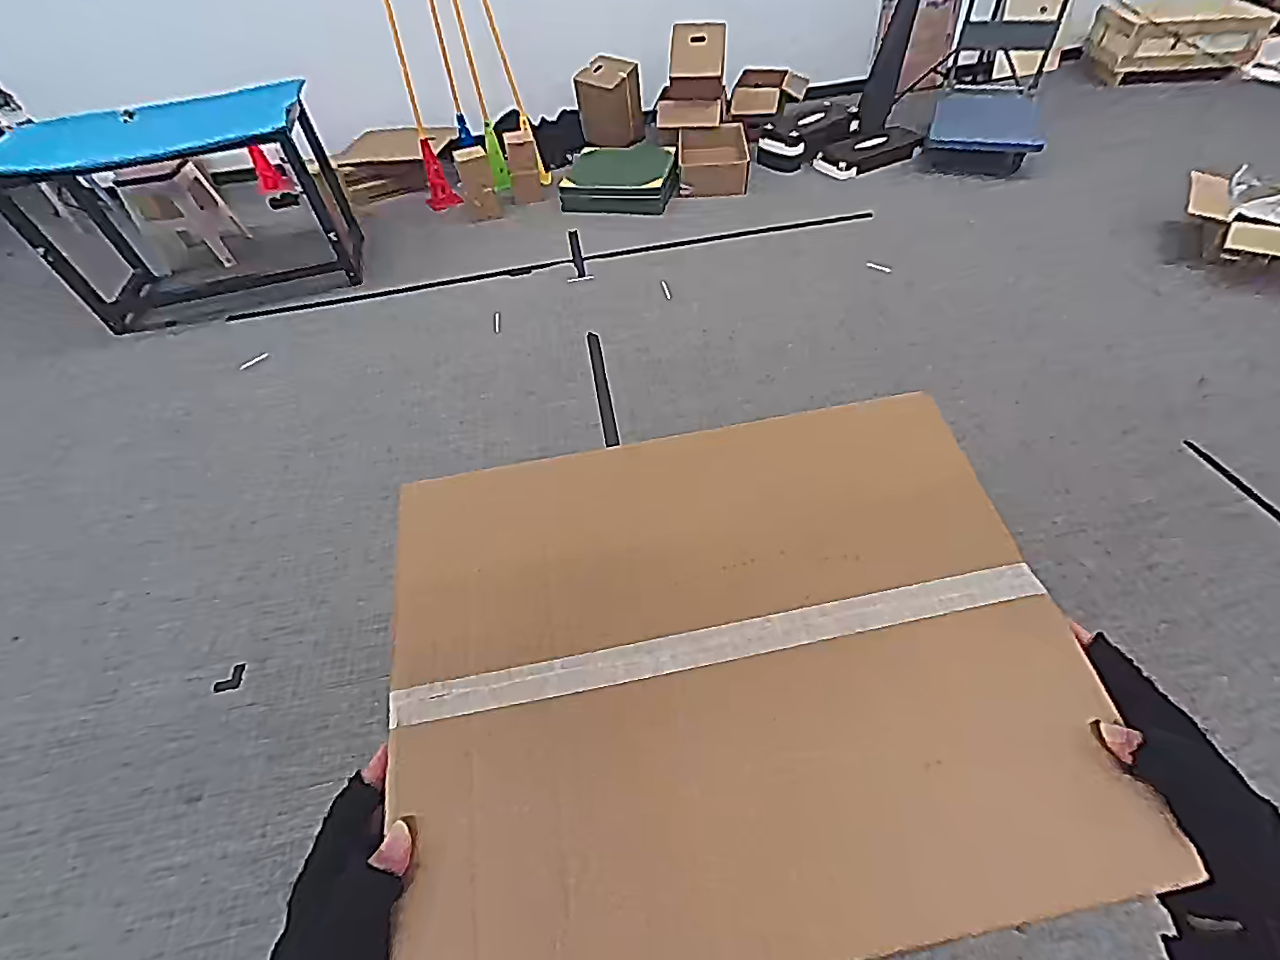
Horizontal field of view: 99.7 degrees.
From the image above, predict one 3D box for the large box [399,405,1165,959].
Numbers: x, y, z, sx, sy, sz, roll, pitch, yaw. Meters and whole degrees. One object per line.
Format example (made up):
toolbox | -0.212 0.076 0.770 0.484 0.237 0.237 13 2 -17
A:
large box | 0.060 0.181 0.468 0.408 0.320 0.320 -11 60 -2
